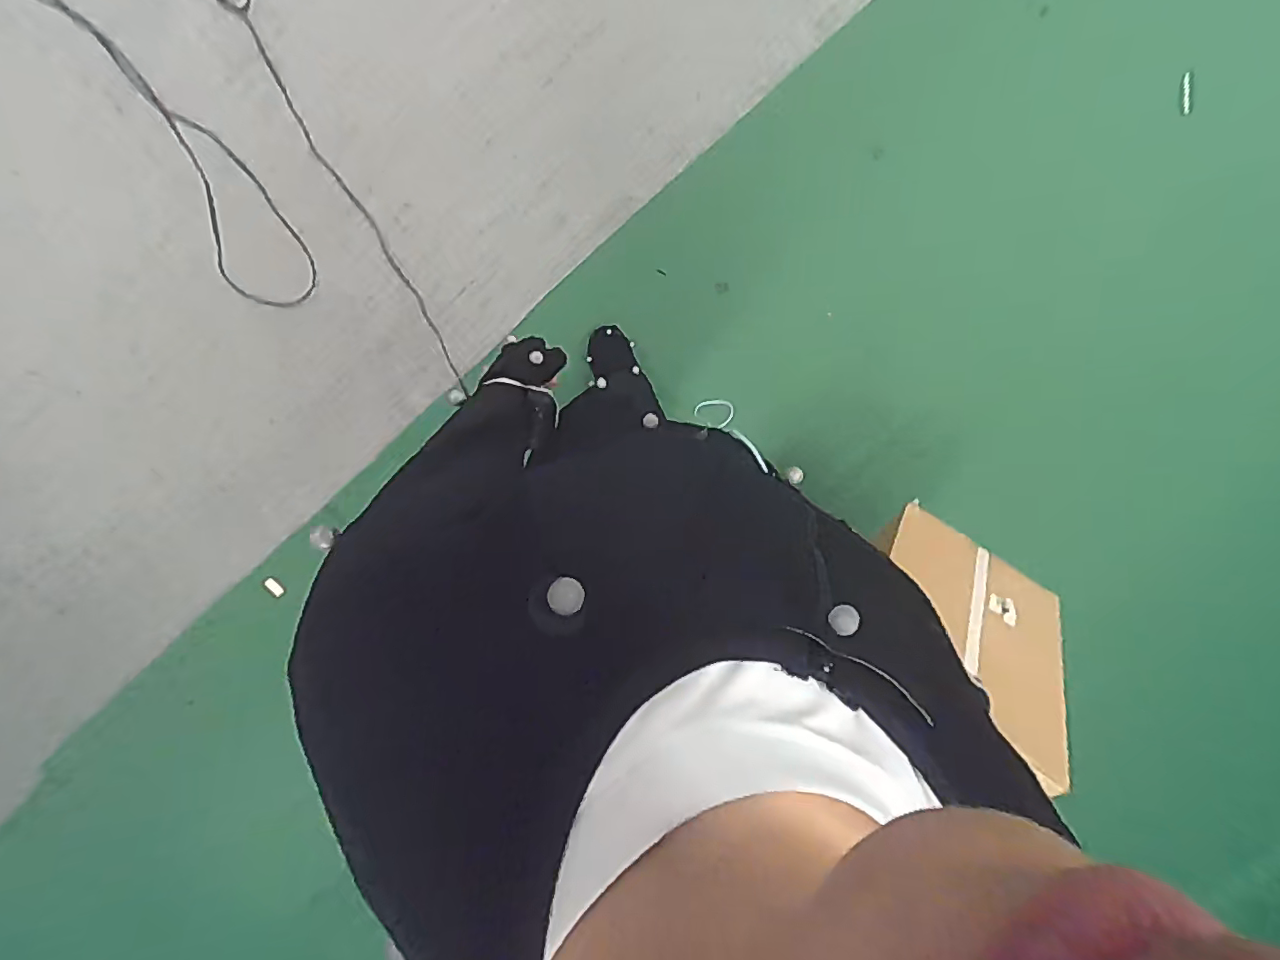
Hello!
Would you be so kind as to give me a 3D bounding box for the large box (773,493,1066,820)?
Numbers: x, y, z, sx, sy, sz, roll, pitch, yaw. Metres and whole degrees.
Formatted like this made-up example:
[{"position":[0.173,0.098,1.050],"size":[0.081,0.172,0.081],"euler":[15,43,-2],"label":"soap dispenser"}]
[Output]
[{"position":[0.499,0.306,0.988],"size":[0.320,0.408,0.320],"euler":[36,134,11],"label":"large box"}]
